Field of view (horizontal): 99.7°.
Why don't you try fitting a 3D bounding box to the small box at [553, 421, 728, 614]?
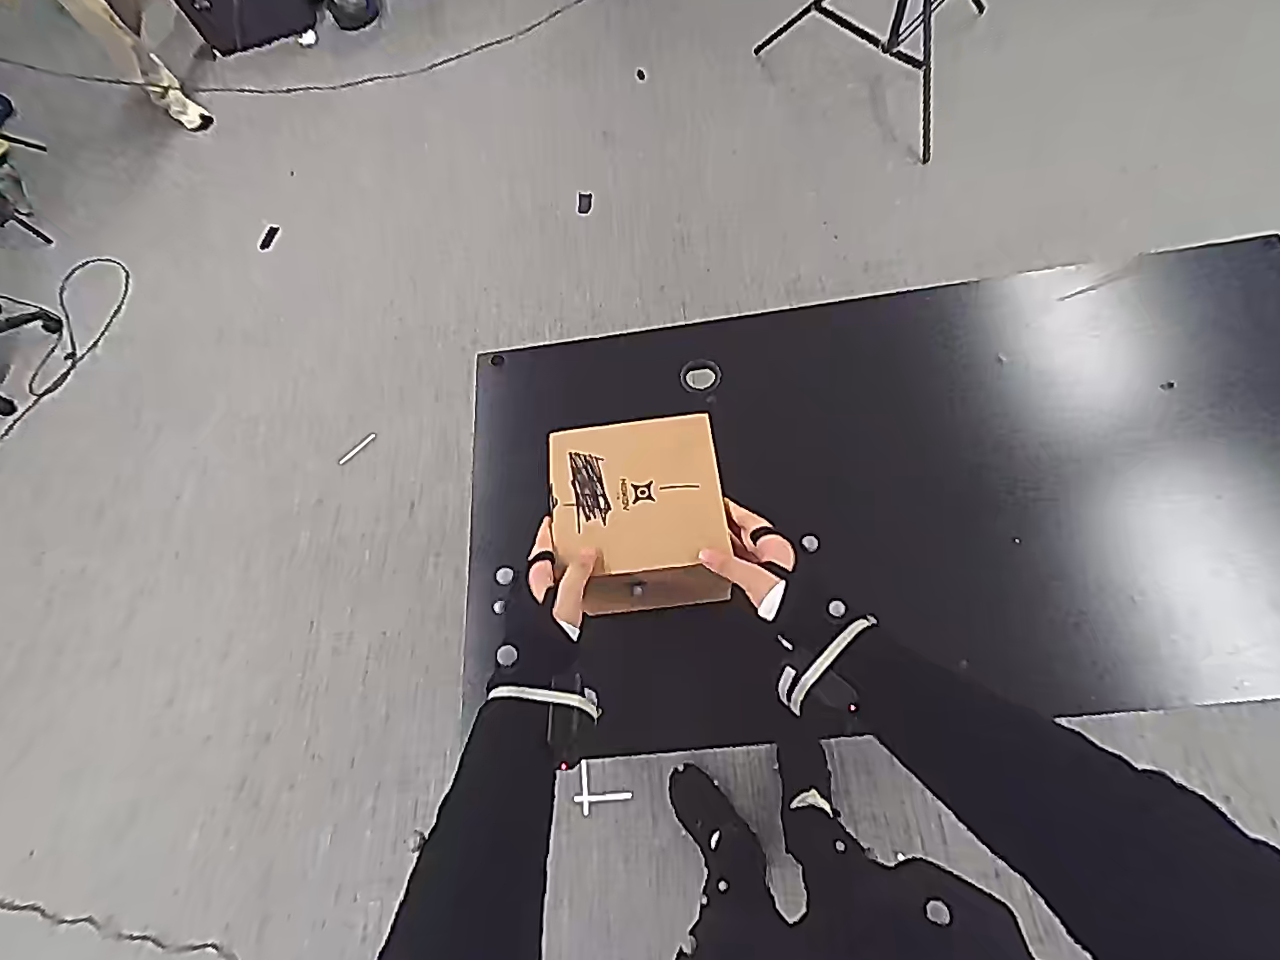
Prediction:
[{"bbox_3d":[0.005,0.054,0.631,0.179,0.176,0.168,-7,64,4],"label":"small box"}]
